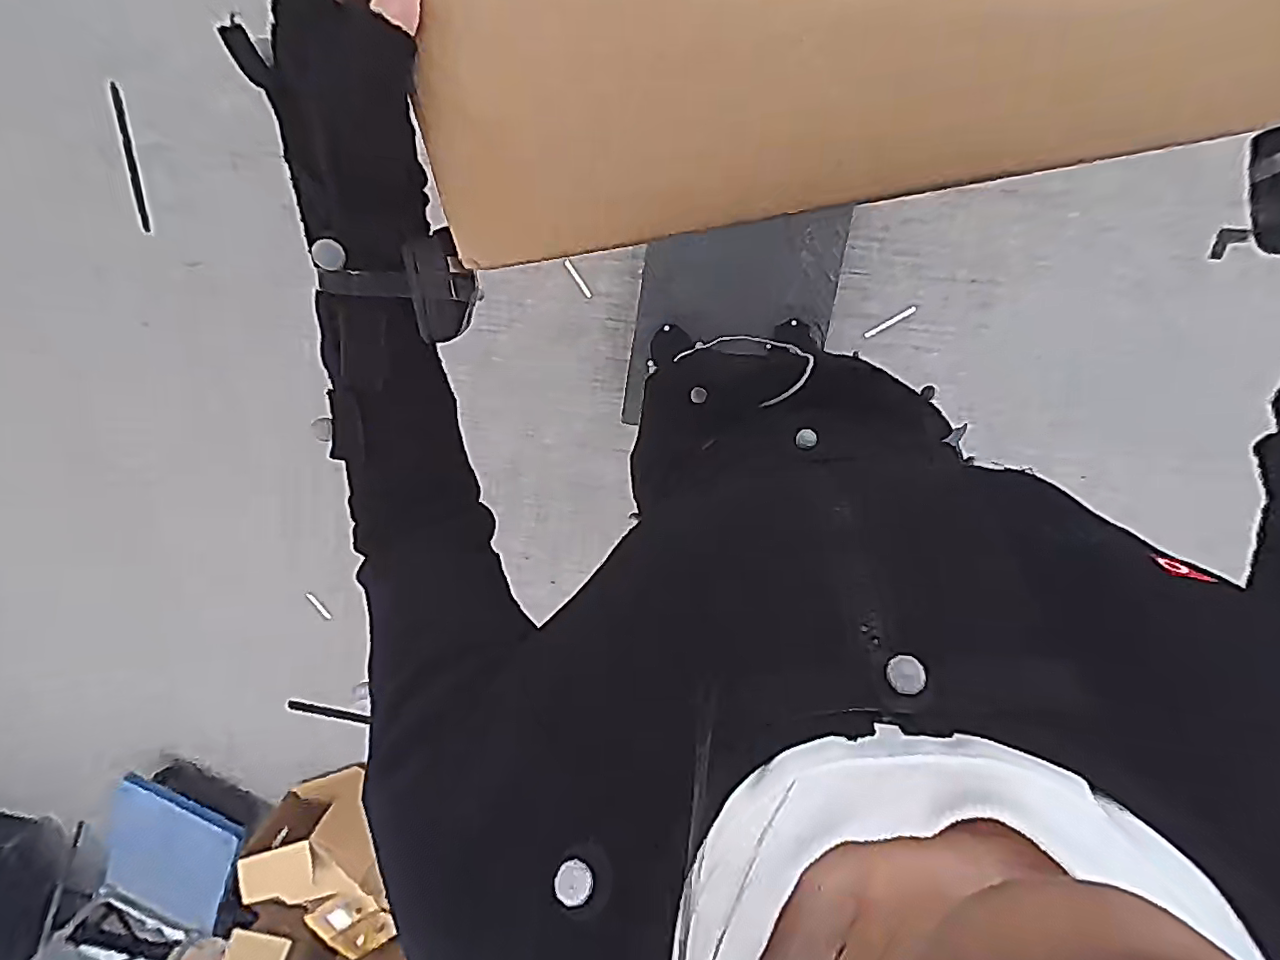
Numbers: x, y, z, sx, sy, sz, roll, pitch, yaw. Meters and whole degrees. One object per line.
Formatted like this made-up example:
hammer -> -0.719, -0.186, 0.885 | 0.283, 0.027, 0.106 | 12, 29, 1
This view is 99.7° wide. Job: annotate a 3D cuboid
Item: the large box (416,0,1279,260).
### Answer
large box -> 0.094, -0.351, 0.349 | 0.408, 0.320, 0.320 | -6, 116, 10
